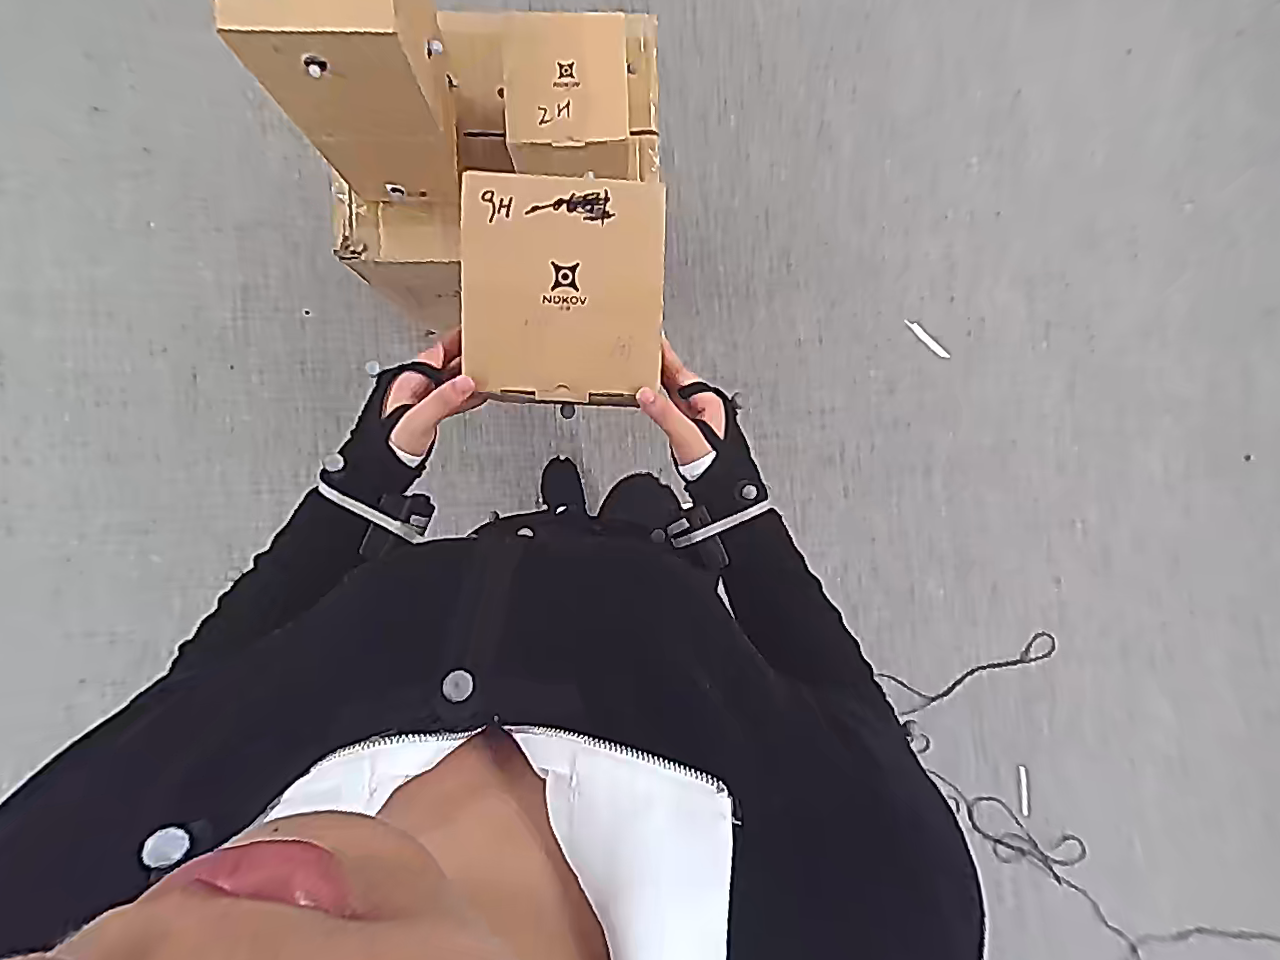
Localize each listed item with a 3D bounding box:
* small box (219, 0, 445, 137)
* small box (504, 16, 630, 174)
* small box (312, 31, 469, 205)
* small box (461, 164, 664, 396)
[{"bbox_3d":[-0.341,-0.528,0.626,0.179,0.176,0.168,-3,90,-4],"label":"small box"},{"bbox_3d":[-0.102,-0.533,0.802,0.168,0.176,0.179,-2,90,-2],"label":"small box"},{"bbox_3d":[-0.354,-0.530,0.790,0.168,0.176,0.179,-3,91,-3],"label":"small box"},{"bbox_3d":[-0.068,-0.174,0.525,0.168,0.176,0.179,1,96,-4],"label":"small box"}]
